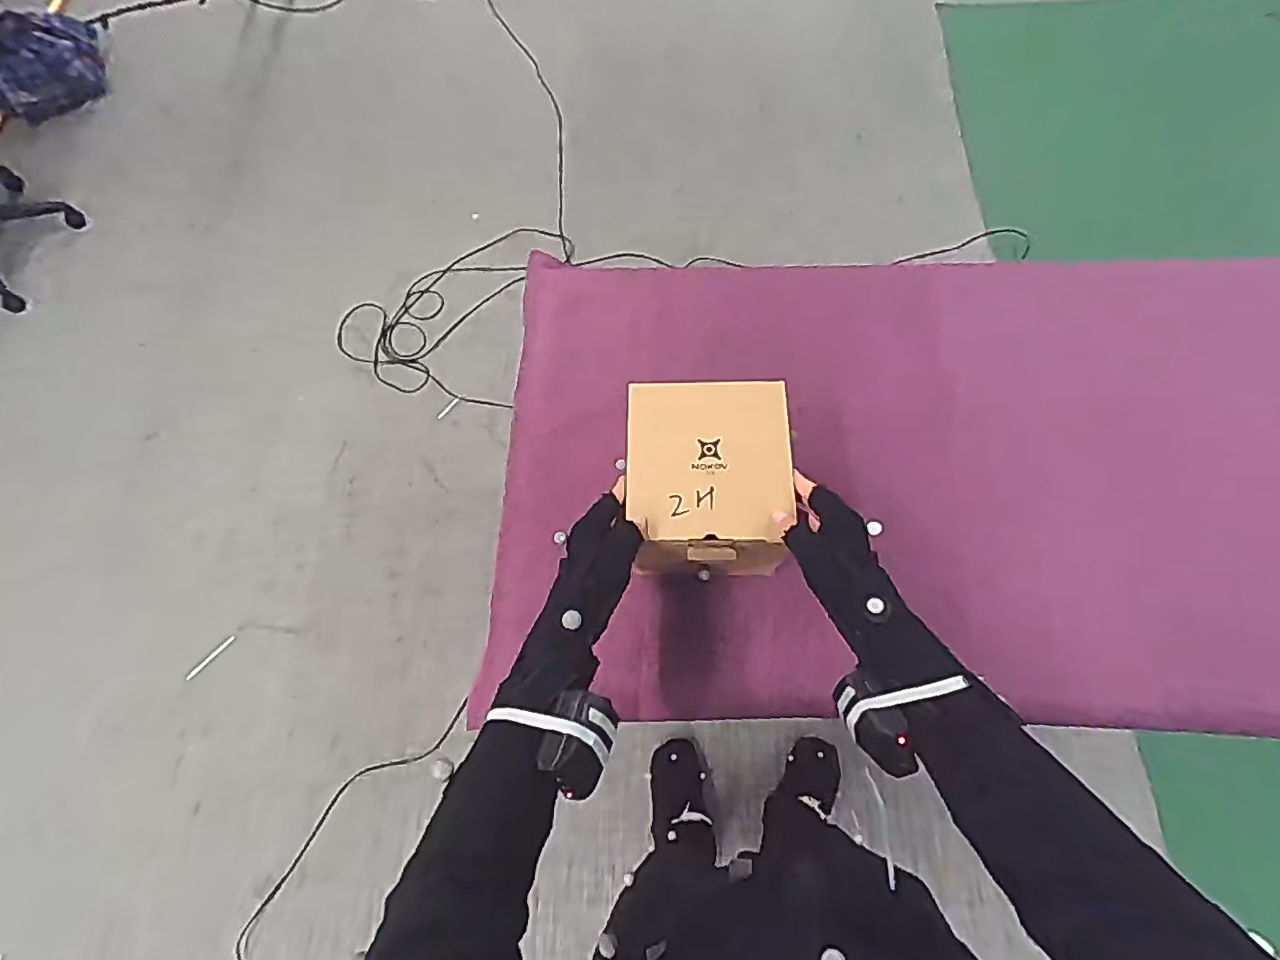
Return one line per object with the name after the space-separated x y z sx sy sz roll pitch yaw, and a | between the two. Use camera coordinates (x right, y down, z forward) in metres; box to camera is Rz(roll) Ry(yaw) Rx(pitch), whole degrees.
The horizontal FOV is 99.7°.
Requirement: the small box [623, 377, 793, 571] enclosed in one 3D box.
0.072 0.000 0.620 0.168 0.176 0.179 0 70 4 | small box
